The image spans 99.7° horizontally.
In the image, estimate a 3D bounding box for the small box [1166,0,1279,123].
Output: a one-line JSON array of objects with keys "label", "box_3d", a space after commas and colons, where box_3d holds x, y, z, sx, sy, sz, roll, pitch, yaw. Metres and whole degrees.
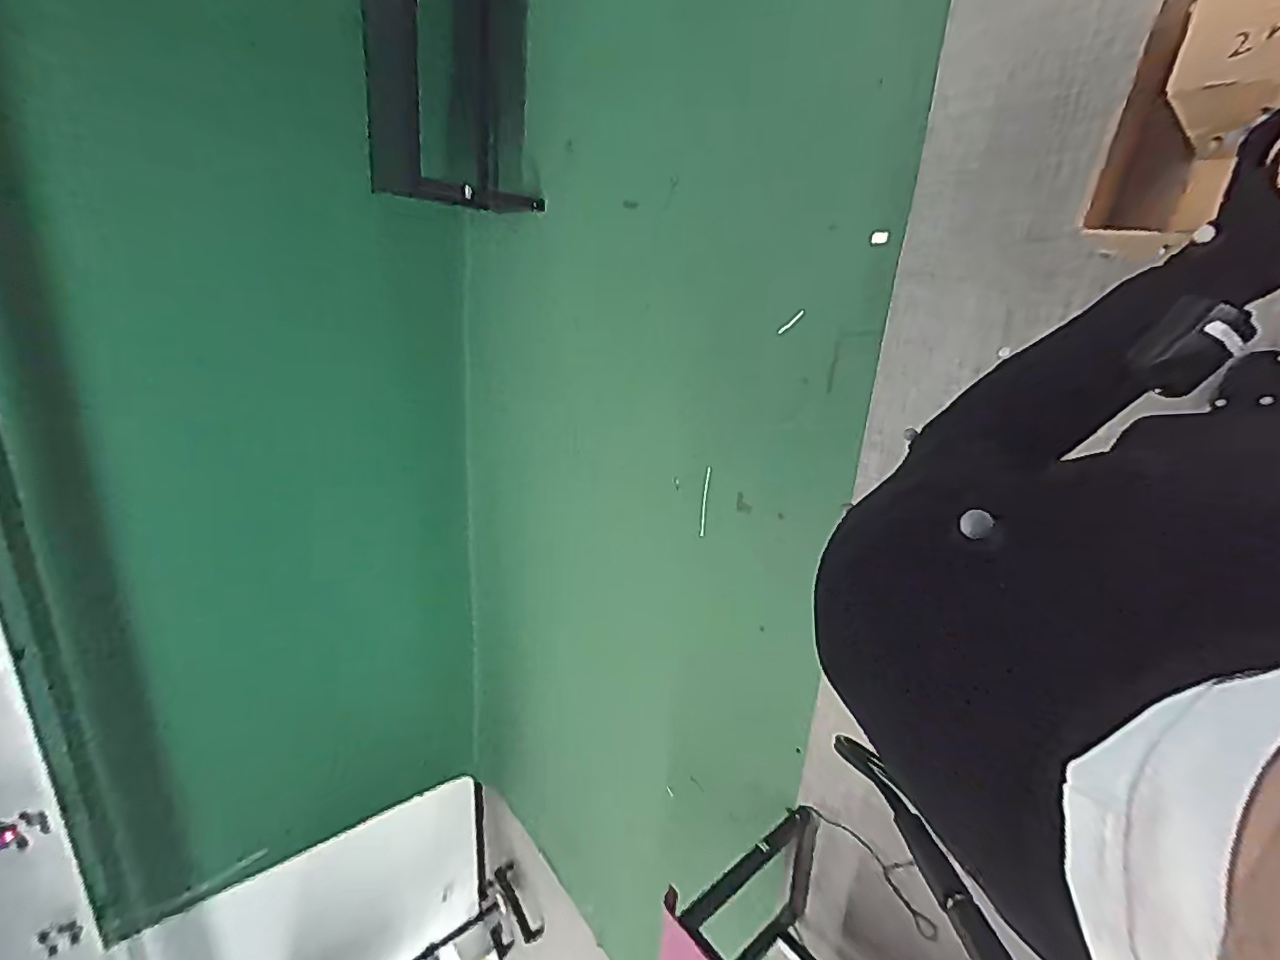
[{"label": "small box", "box_3d": [0.726, -0.520, 0.588, 0.168, 0.176, 0.179, 28, 119, 45]}]
